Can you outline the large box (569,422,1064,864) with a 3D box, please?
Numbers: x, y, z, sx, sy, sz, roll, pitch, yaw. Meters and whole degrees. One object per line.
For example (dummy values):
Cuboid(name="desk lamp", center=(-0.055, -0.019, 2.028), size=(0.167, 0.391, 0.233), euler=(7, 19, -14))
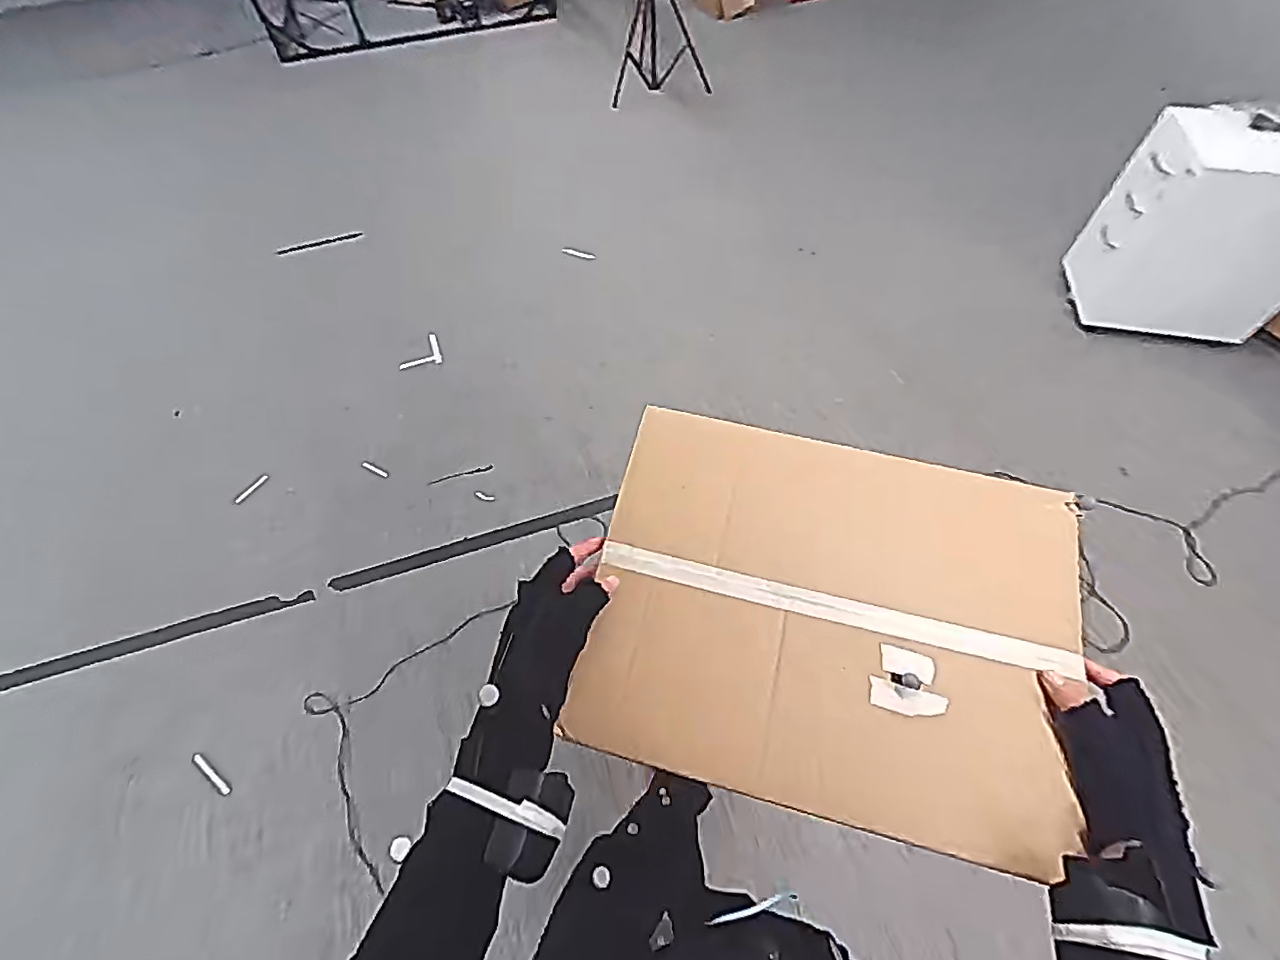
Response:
Cuboid(name="large box", center=(0.168, 0.171, 0.623), size=(0.408, 0.320, 0.320), euler=(13, 70, 7))
